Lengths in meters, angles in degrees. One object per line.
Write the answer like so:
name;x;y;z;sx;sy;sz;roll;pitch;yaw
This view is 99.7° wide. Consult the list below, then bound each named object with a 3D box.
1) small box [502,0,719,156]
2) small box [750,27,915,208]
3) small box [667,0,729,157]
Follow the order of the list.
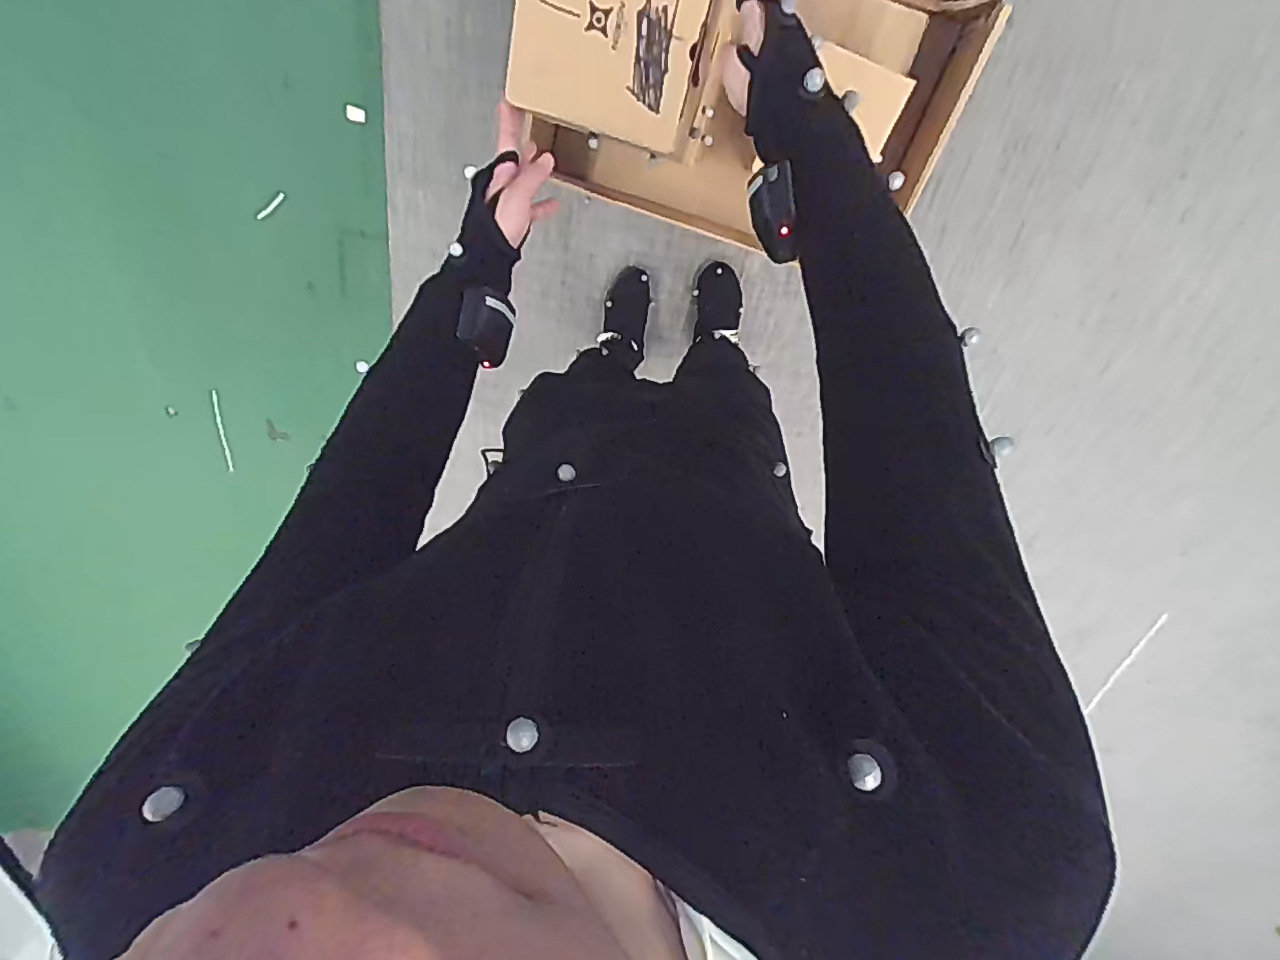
small box;-0.023;-0.457;0.568;0.179;0.176;0.168;18;120;0
small box;0.284;-0.547;0.838;0.168;0.176;0.179;22;120;-3
small box;0.005;-0.539;0.708;0.179;0.176;0.168;19;120;-2
